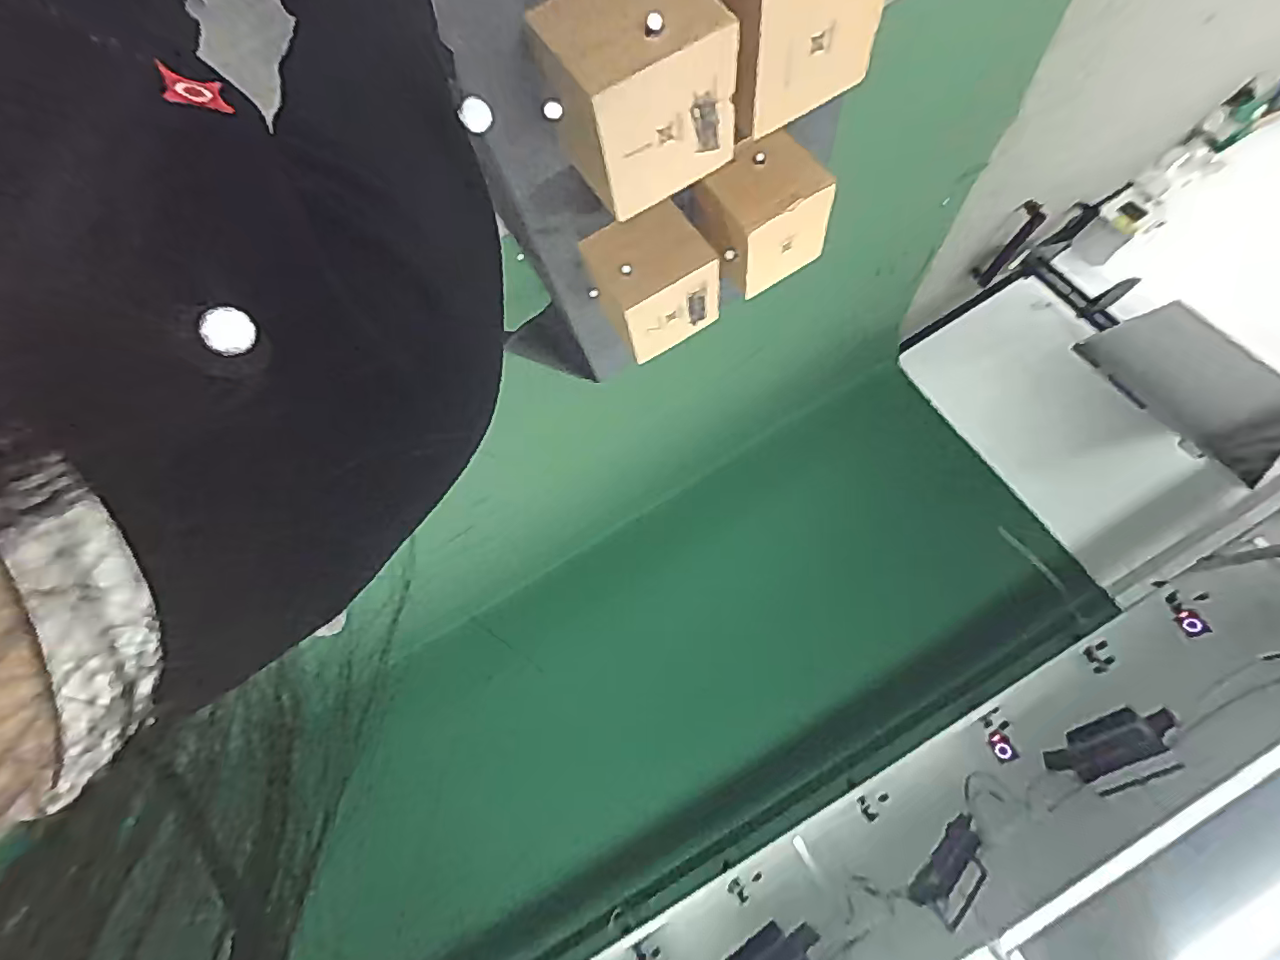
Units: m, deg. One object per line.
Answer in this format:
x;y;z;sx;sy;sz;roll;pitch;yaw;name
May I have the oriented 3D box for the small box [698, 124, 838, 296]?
0.216;-0.472;0.953;0.168;0.176;0.179;-32;159;-1;small box
